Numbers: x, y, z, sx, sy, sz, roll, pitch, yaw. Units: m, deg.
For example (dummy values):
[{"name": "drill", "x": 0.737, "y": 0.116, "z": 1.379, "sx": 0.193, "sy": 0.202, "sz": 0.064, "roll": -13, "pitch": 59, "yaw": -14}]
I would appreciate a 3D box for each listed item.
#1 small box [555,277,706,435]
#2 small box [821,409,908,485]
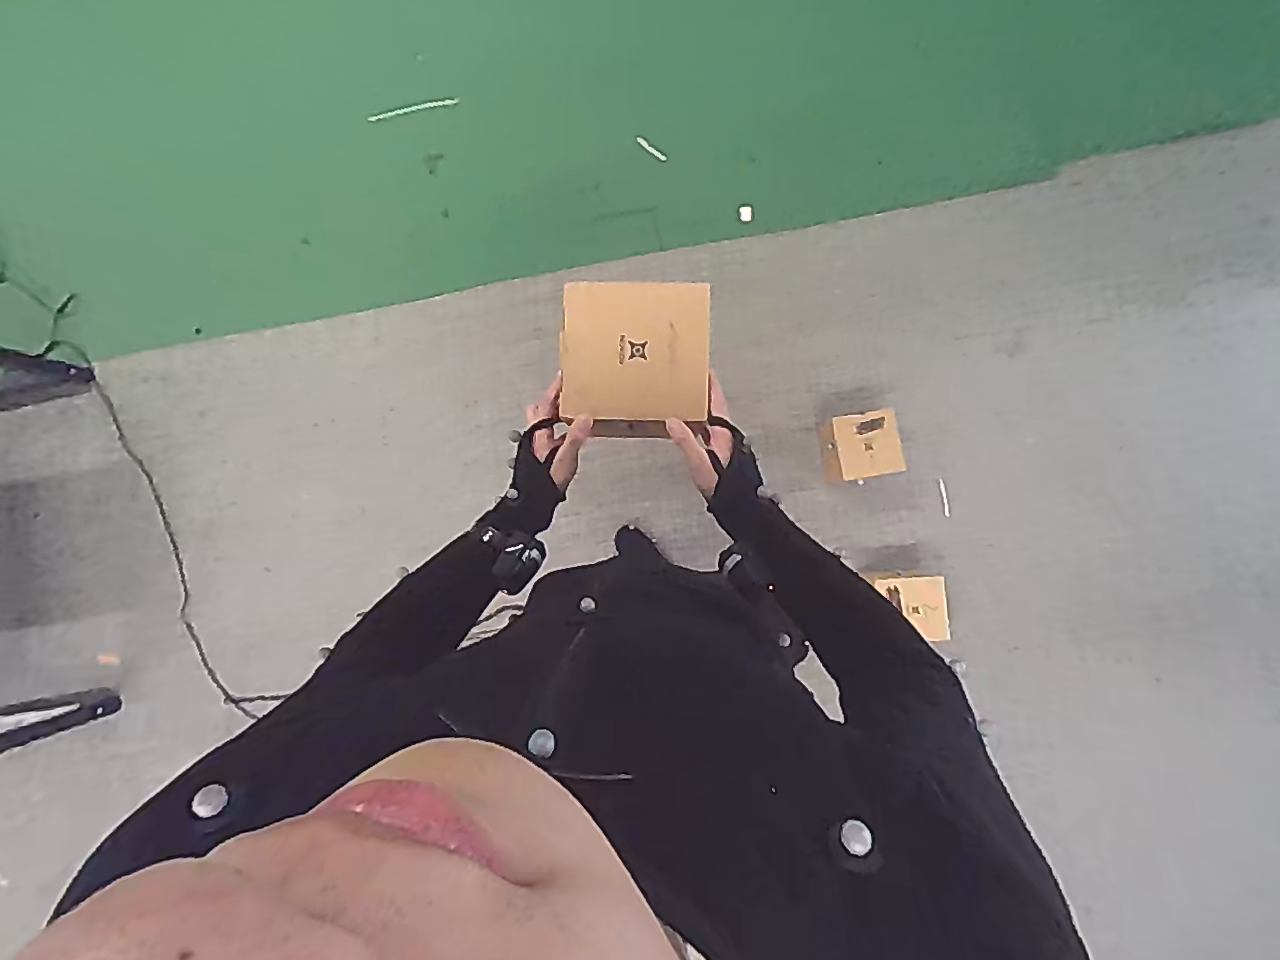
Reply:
[{"name": "small box", "x": -0.007, "y": -0.151, "z": 0.708, "sx": 0.179, "sy": 0.176, "sz": 0.168, "roll": 1, "pitch": 87, "yaw": 2}, {"name": "small box", "x": 0.619, "y": -0.086, "z": 1.513, "sx": 0.168, "sy": 0.176, "sz": 0.179, "roll": -10, "pitch": 86, "yaw": 5}]
